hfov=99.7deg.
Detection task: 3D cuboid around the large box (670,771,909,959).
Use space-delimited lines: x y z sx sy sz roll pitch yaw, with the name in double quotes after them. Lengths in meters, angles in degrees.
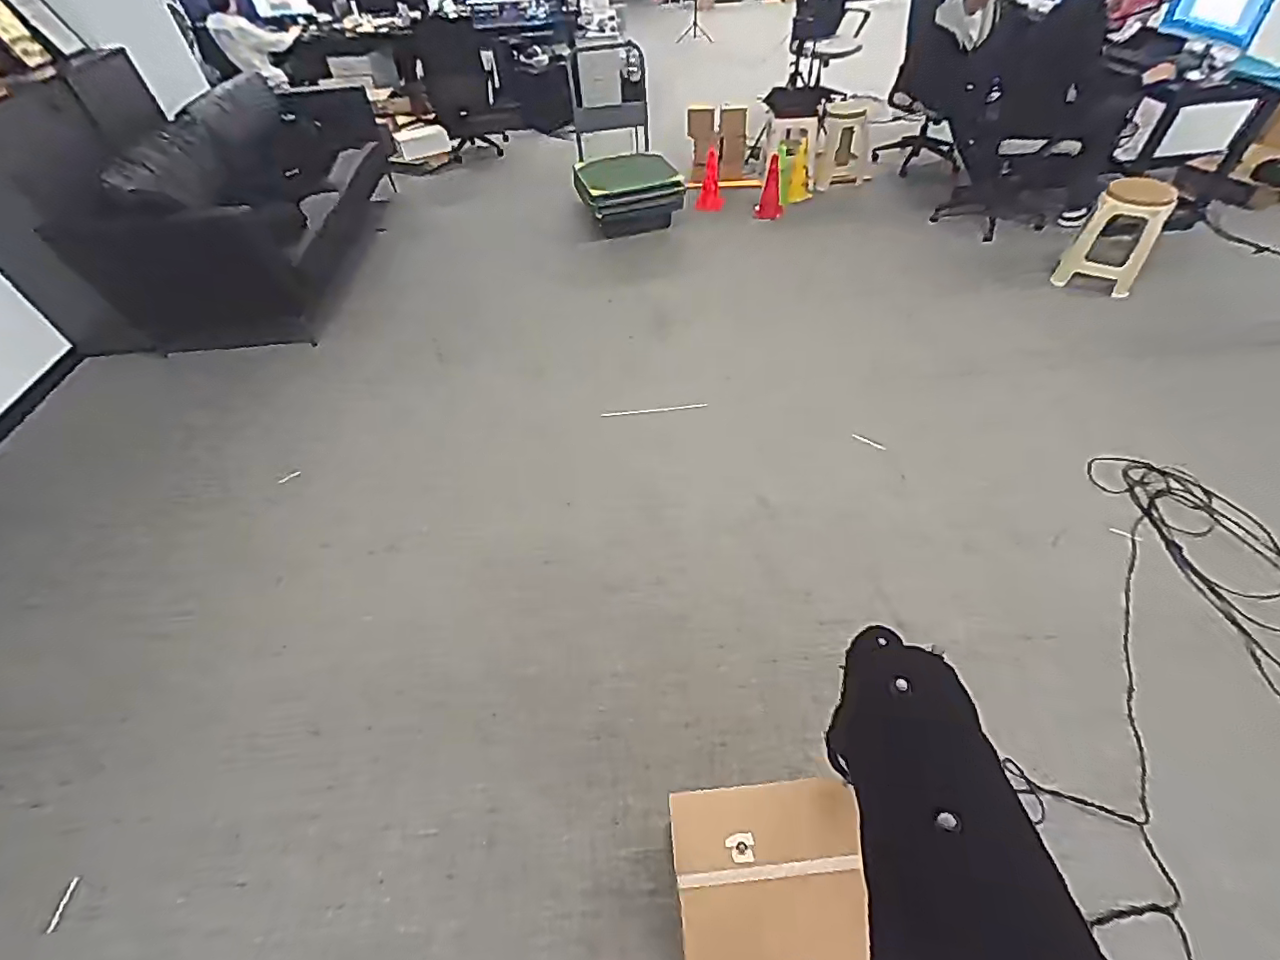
0.289 0.867 1.179 0.408 0.320 0.320 -7 47 -1 "large box"
